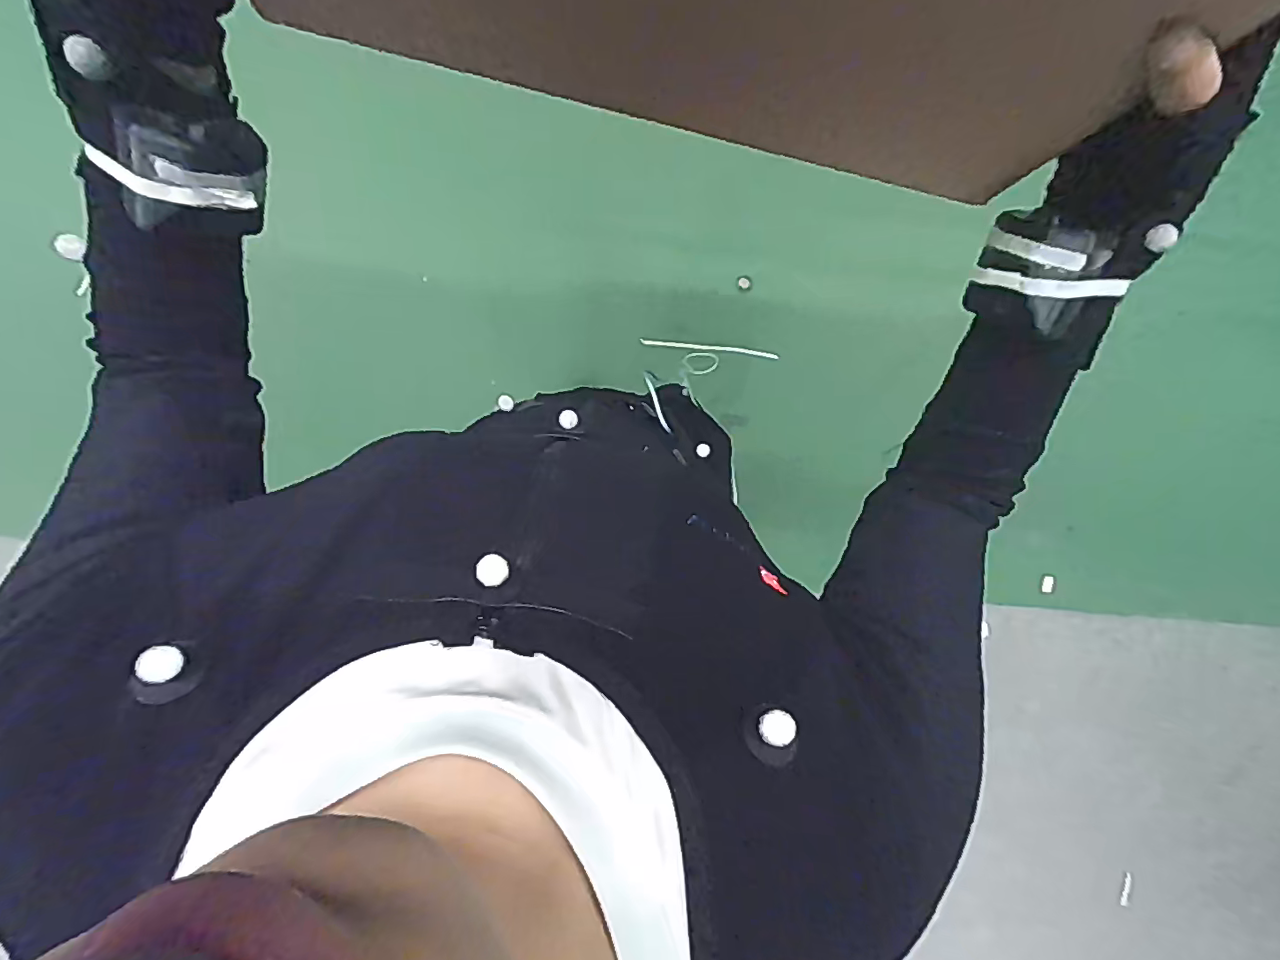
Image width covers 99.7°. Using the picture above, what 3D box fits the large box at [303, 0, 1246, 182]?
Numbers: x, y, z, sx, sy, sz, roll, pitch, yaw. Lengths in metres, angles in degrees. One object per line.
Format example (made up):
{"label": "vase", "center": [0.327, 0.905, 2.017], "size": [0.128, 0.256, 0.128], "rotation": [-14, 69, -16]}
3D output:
{"label": "large box", "center": [0.064, -0.356, 0.158], "size": [0.408, 0.320, 0.320], "rotation": [8, 88, -11]}
